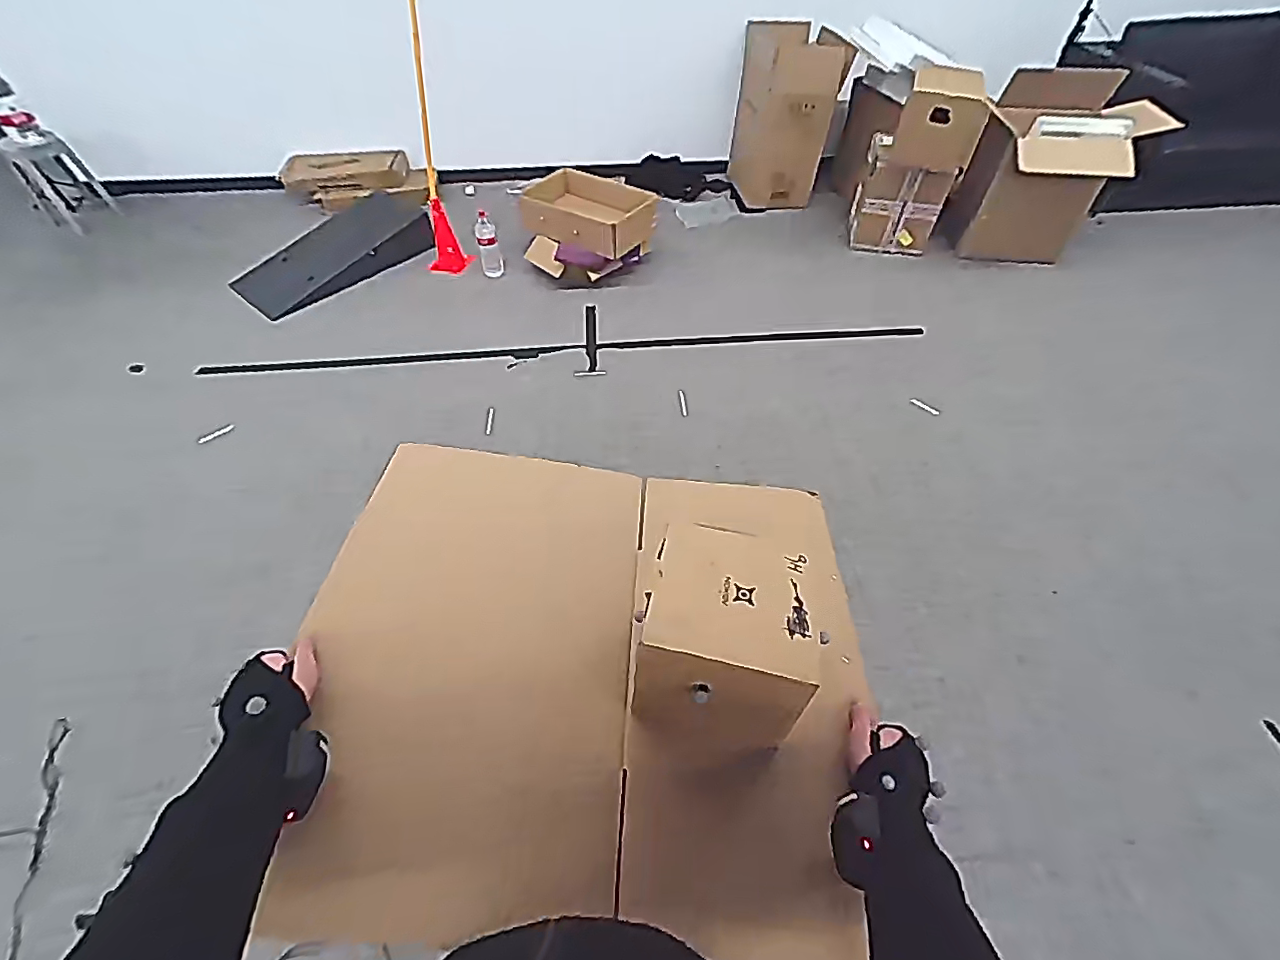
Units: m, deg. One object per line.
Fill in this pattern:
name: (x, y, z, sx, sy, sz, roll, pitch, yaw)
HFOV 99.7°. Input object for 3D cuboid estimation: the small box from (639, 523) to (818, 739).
small box: (0.099, 0.178, 0.631, 0.179, 0.176, 0.168, 11, 46, 7)
